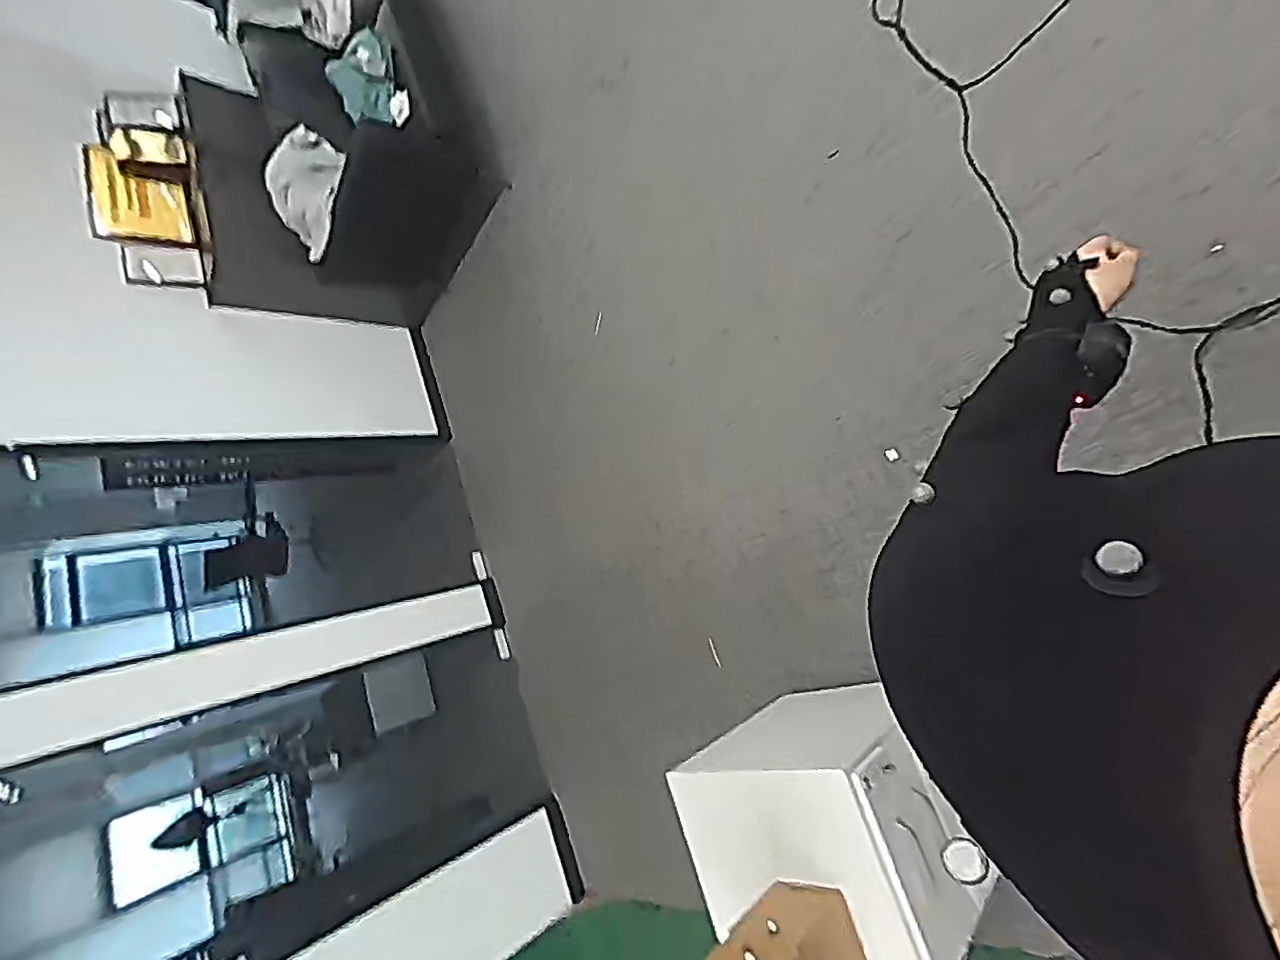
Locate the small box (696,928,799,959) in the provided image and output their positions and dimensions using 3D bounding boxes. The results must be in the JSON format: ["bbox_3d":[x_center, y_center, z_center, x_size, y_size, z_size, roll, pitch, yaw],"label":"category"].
[{"bbox_3d":[0.181,0.893,0.885,0.168,0.176,0.179,-32,69,43],"label":"small box"}]

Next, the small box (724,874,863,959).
[{"bbox_3d":[0.293,0.881,1.003,0.168,0.176,0.179,-32,71,43],"label":"small box"}]
